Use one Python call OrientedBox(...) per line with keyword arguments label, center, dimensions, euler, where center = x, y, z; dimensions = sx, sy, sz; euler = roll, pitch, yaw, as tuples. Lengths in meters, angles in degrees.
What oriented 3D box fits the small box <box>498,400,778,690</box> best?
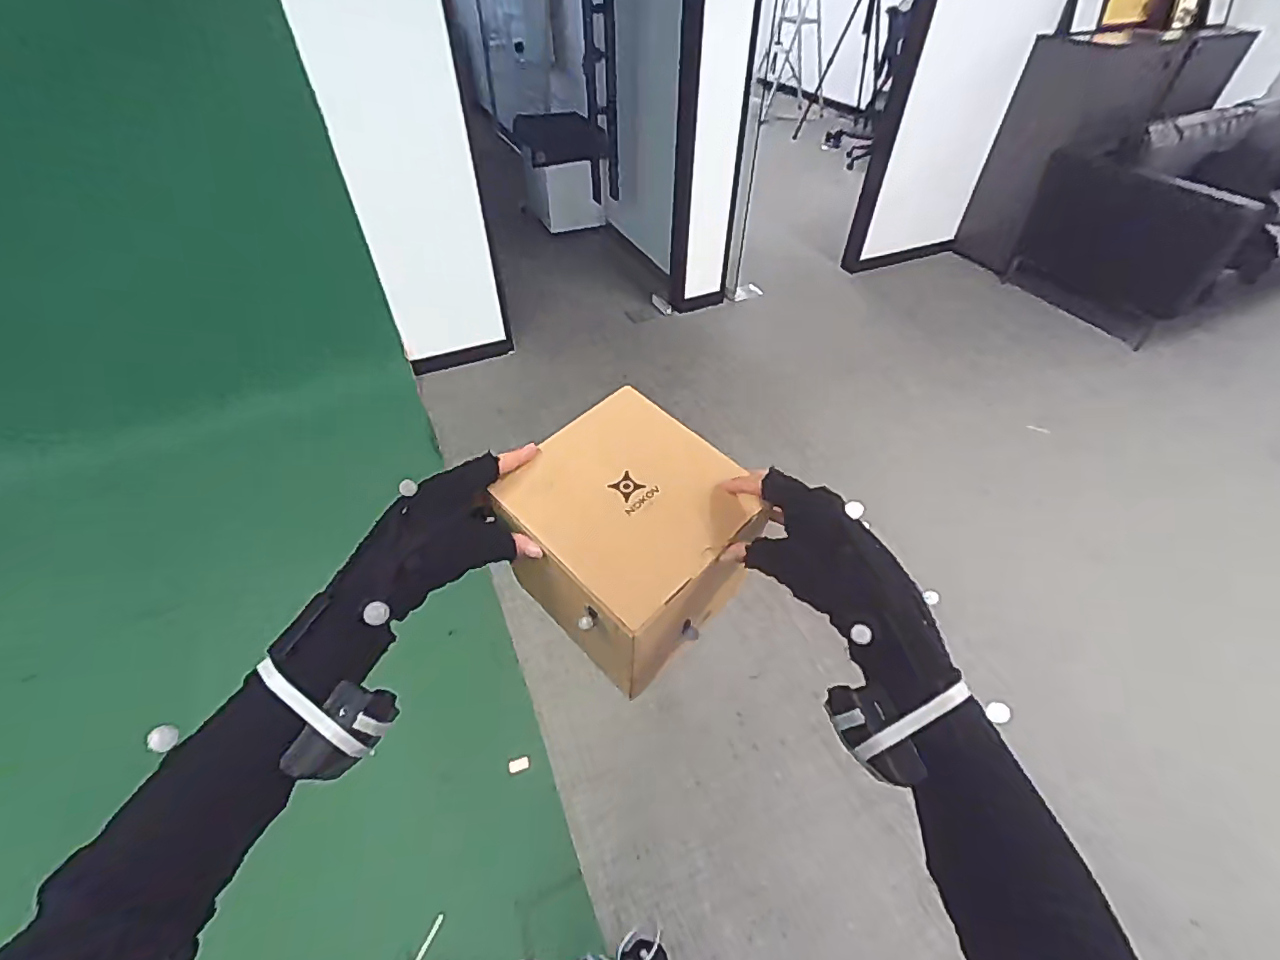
OrientedBox(label="small box", center=(-0.005, 0.064, 0.509), dimensions=(0.179, 0.176, 0.168), euler=(40, 61, 23))
